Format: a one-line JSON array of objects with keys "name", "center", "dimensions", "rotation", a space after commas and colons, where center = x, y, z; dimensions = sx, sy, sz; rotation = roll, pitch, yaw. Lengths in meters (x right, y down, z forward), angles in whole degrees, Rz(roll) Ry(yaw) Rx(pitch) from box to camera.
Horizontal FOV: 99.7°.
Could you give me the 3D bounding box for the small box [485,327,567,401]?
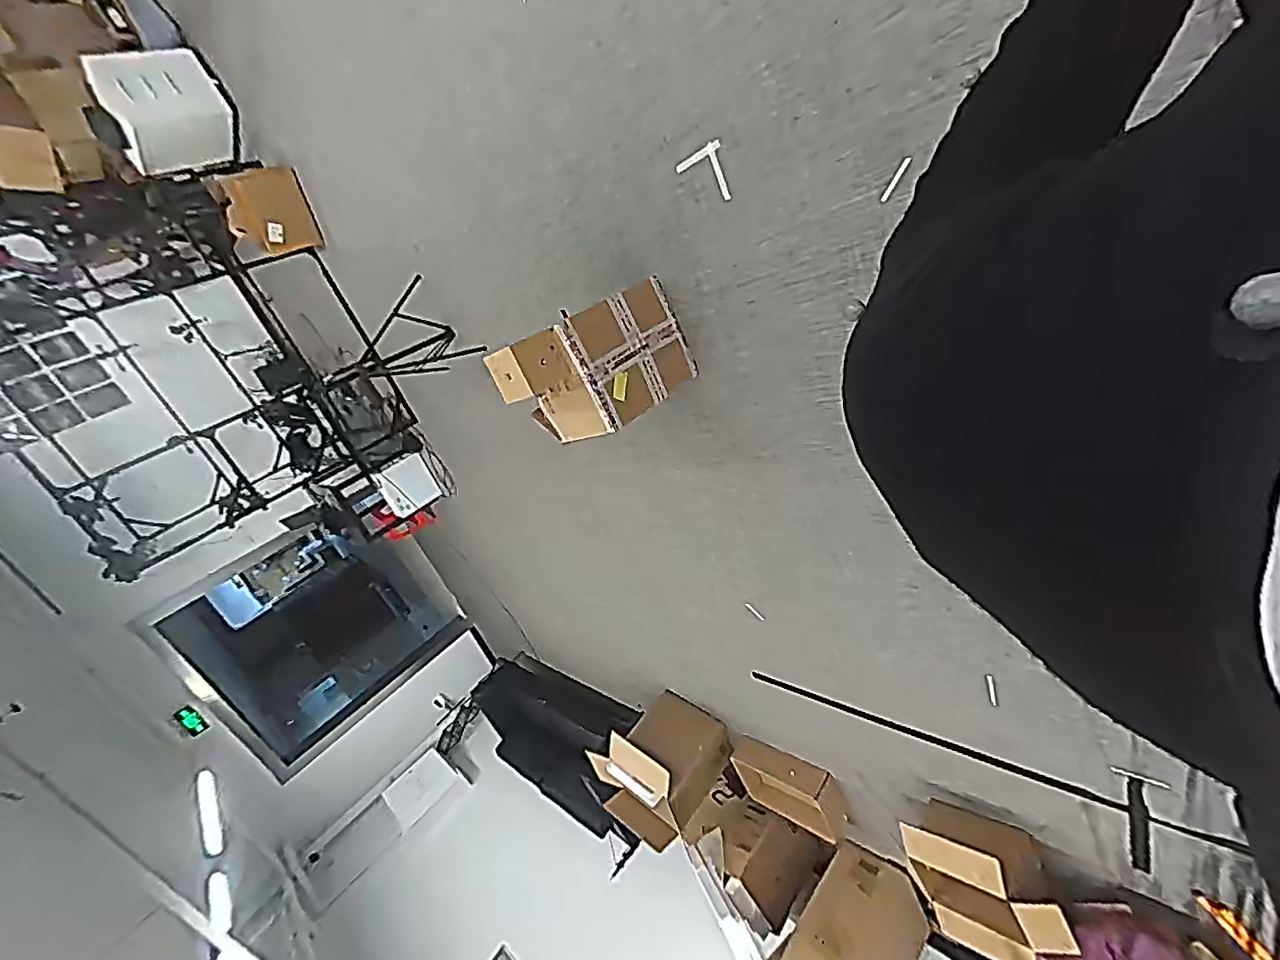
[{"name": "small box", "center": [-0.358, -0.375, 1.744], "dimensions": [0.179, 0.176, 0.168], "rotation": [-4, 117, 49]}]
